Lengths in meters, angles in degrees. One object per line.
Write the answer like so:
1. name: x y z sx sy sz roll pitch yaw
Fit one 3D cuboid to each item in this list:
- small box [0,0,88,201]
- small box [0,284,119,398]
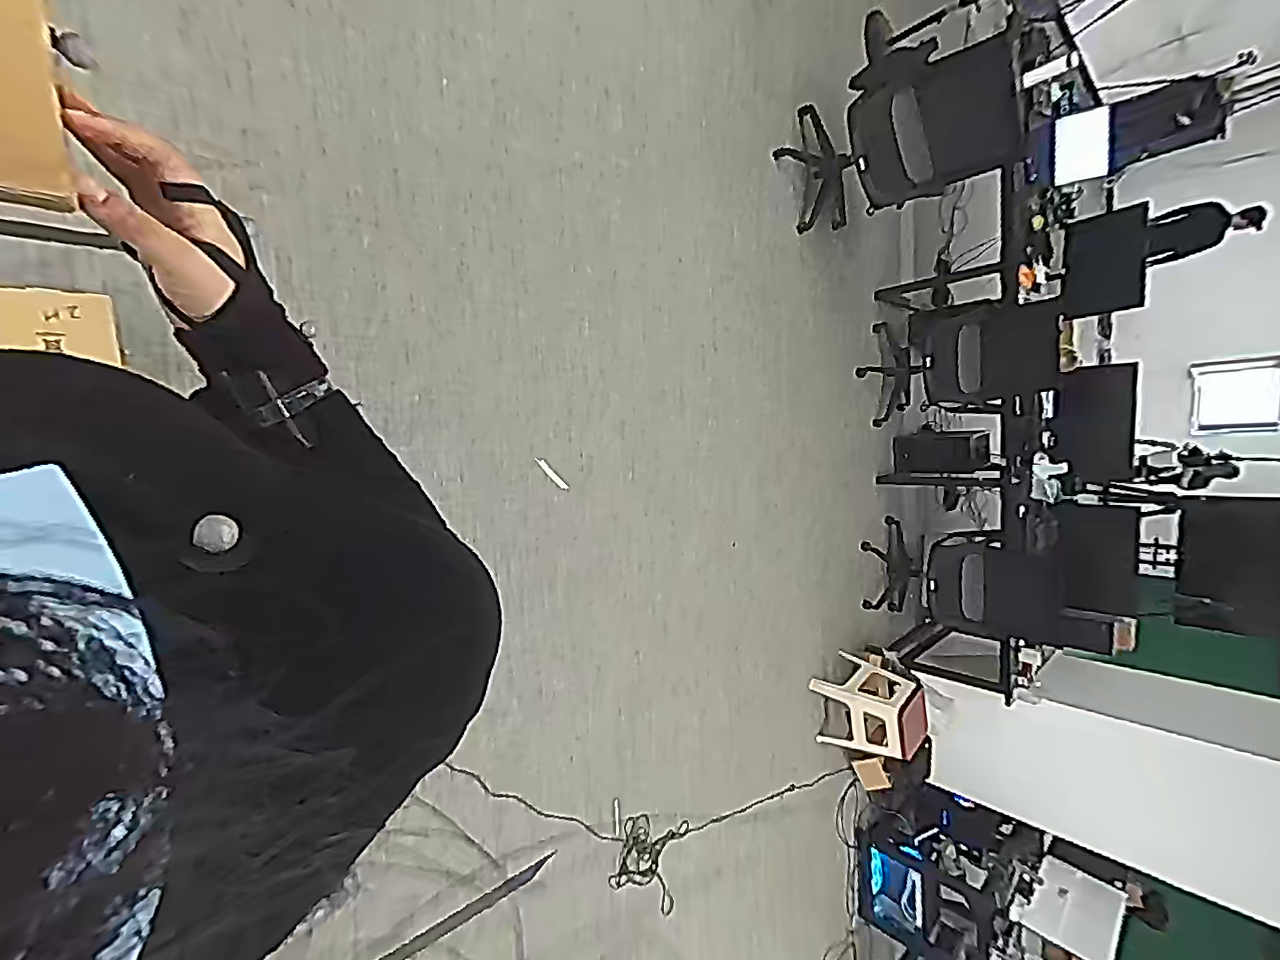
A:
1. small box: -0.389 -0.246 0.252 0.168 0.176 0.179 -9 115 -45
2. small box: -1.070 -0.242 0.979 0.168 0.176 0.179 -9 96 -43
